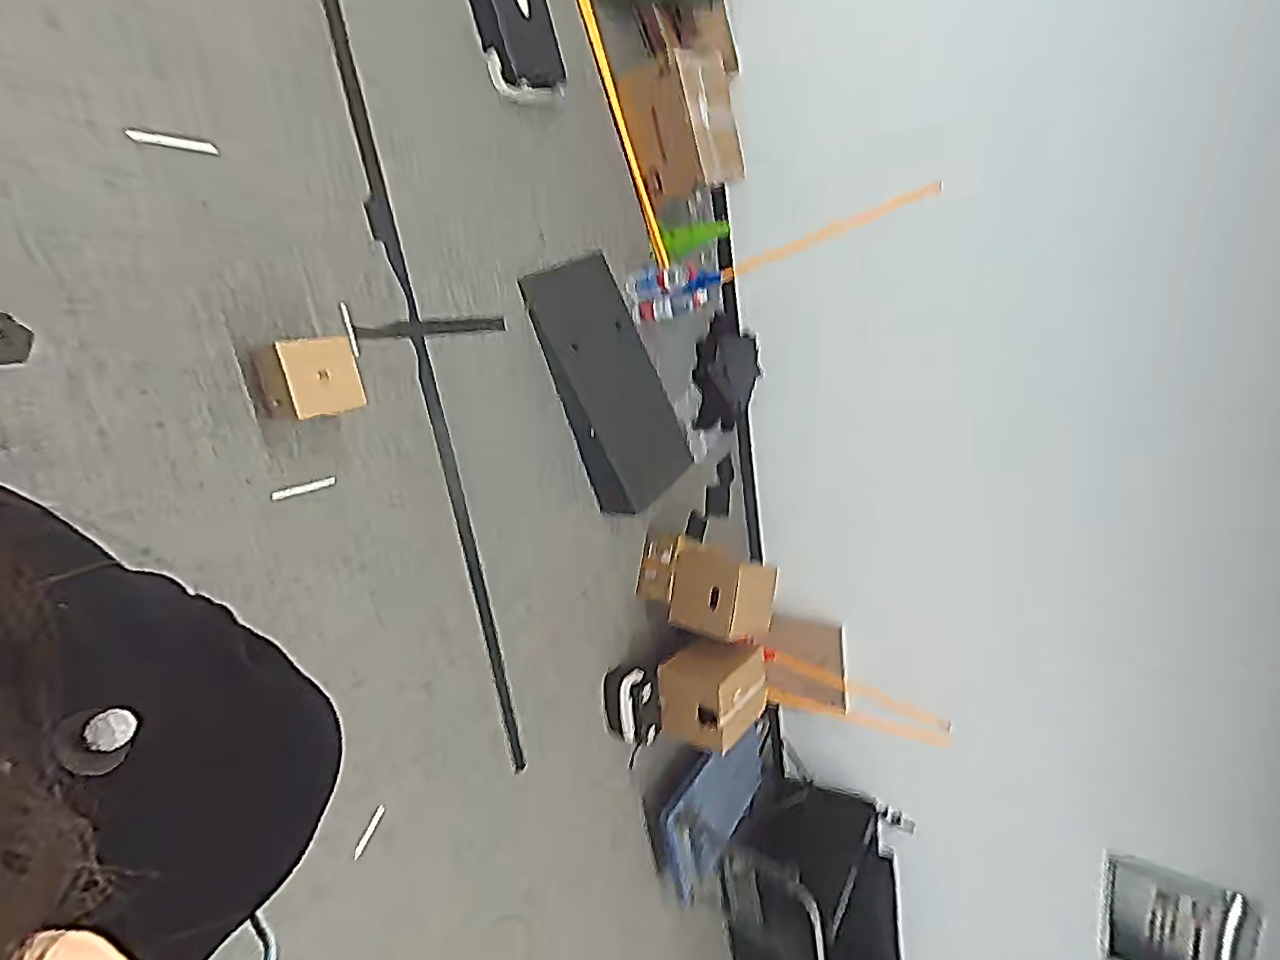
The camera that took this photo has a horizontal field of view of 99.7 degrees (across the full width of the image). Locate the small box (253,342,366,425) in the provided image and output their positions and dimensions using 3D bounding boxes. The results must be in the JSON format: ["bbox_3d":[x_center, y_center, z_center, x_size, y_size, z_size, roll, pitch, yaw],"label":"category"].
[{"bbox_3d":[-0.805,-0.235,1.319,0.168,0.176,0.179,-25,111,-49],"label":"small box"}]
